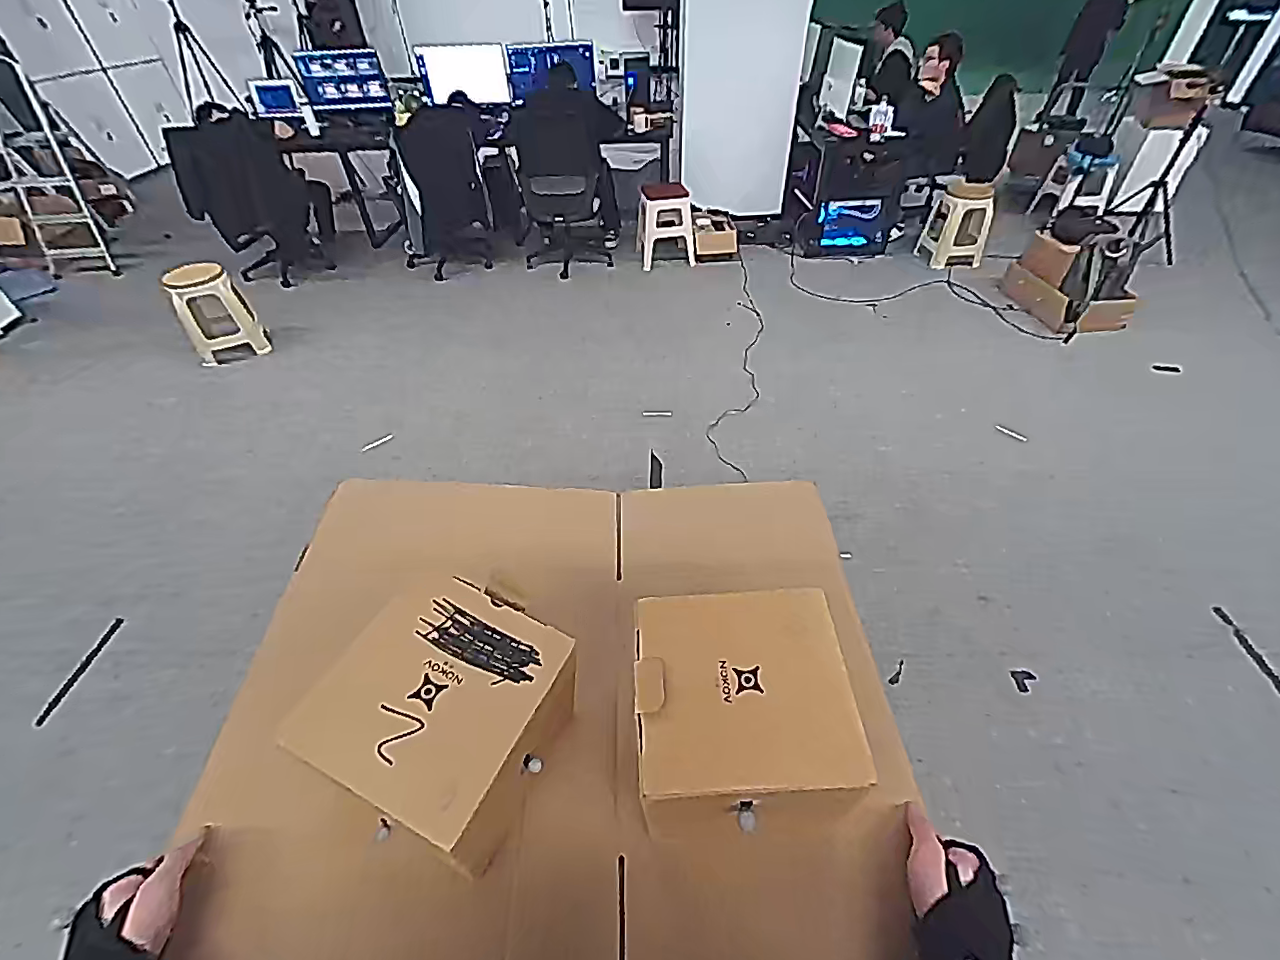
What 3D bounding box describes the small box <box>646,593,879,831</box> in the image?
[{"bbox_3d":[0.099,0.226,0.522,0.179,0.176,0.168,-5,48,2],"label":"small box"}]
